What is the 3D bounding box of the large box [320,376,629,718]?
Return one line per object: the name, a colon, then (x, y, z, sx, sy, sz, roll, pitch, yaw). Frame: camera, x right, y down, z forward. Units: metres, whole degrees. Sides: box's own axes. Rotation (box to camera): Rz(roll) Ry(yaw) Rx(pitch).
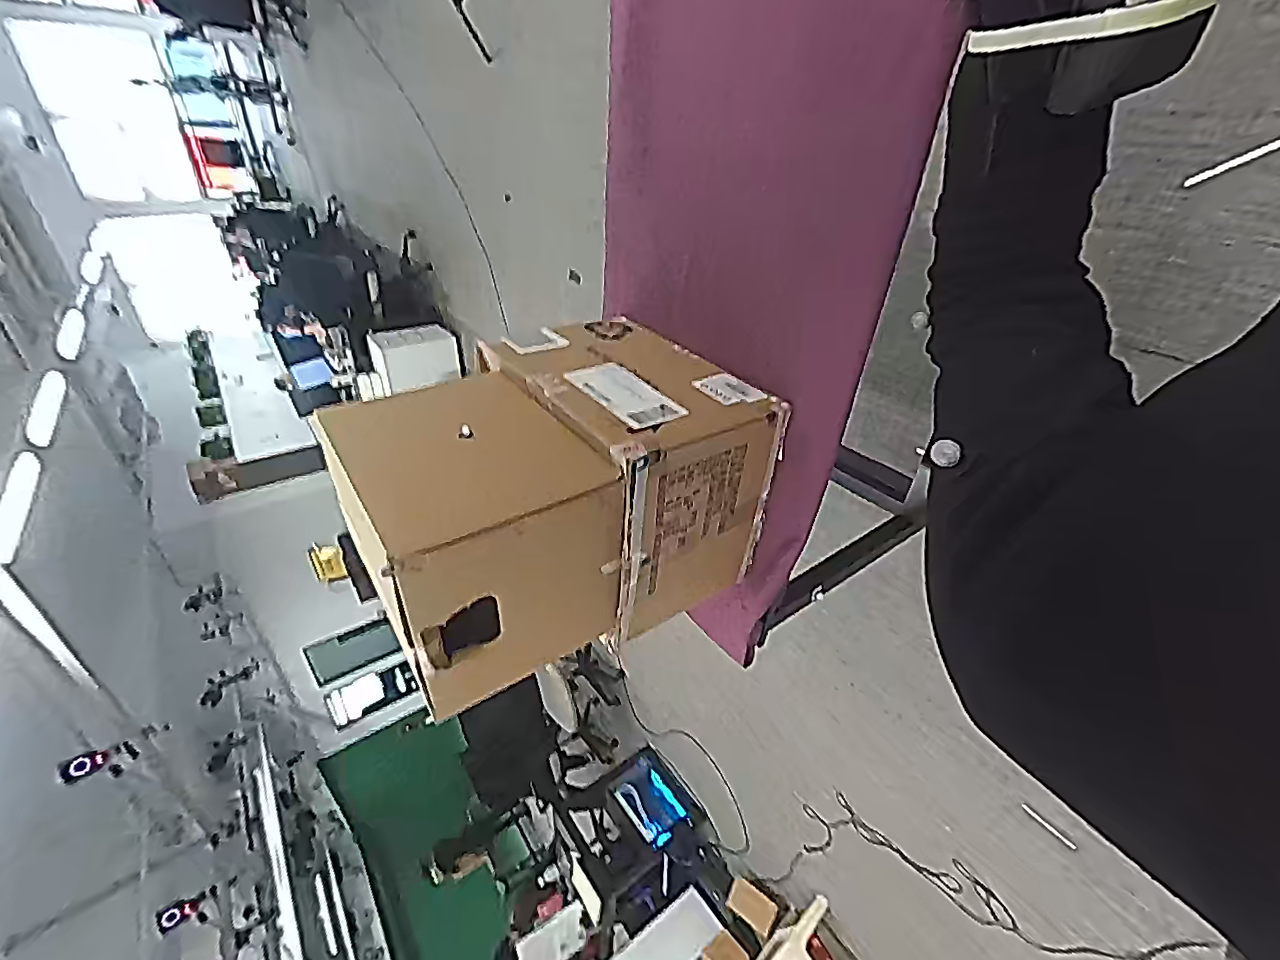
large box: (-0.258, 0.065, 0.856, 0.408, 0.320, 0.320, 38, 138, 41)
